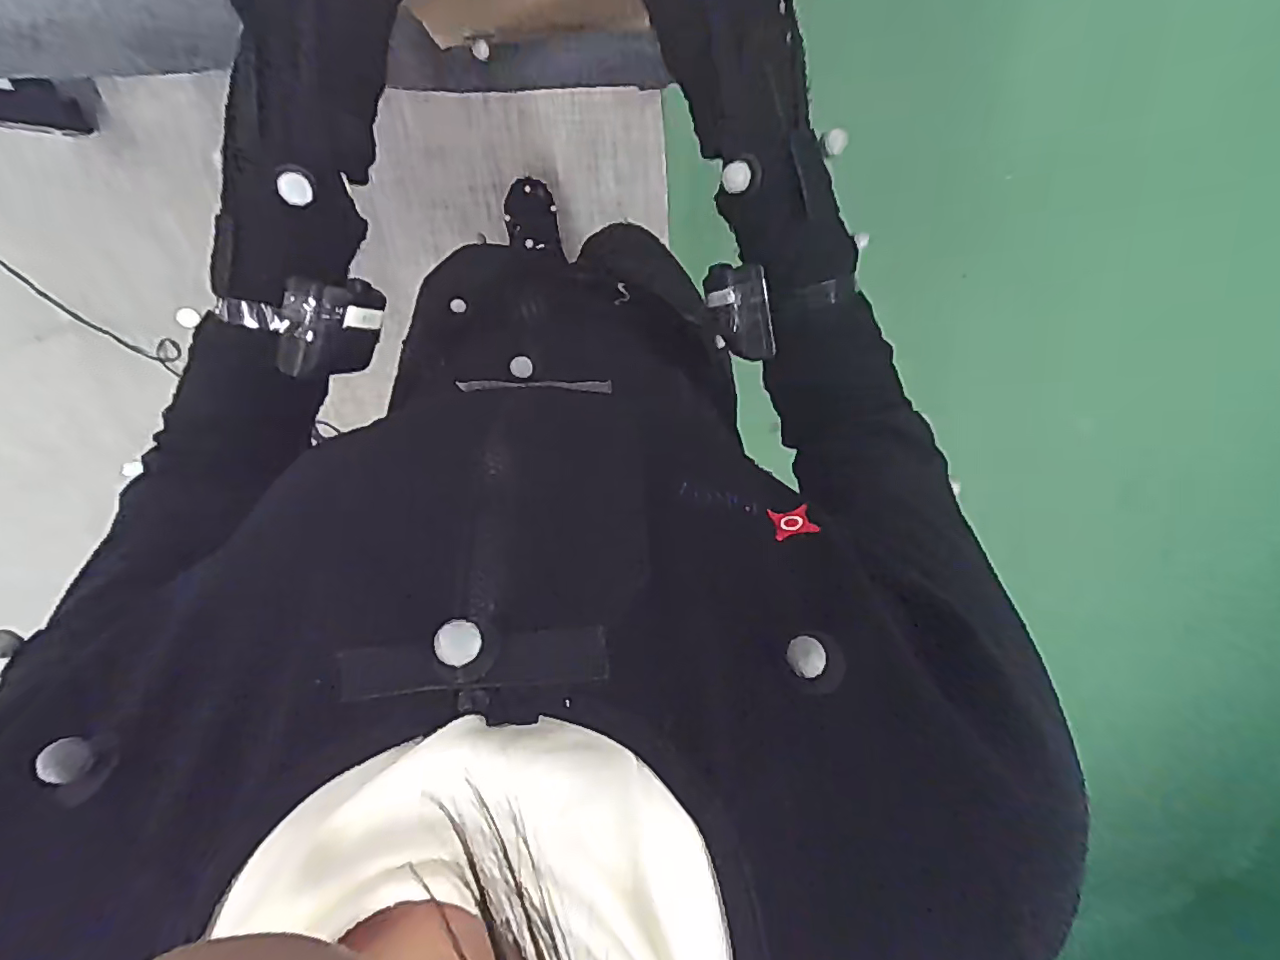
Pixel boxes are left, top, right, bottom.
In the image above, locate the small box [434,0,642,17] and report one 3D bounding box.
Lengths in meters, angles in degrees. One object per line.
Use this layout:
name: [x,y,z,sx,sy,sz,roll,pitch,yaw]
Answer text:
small box: [-0.068,-0.388,0.301,0.168,0.176,0.179,-9,120,-5]
